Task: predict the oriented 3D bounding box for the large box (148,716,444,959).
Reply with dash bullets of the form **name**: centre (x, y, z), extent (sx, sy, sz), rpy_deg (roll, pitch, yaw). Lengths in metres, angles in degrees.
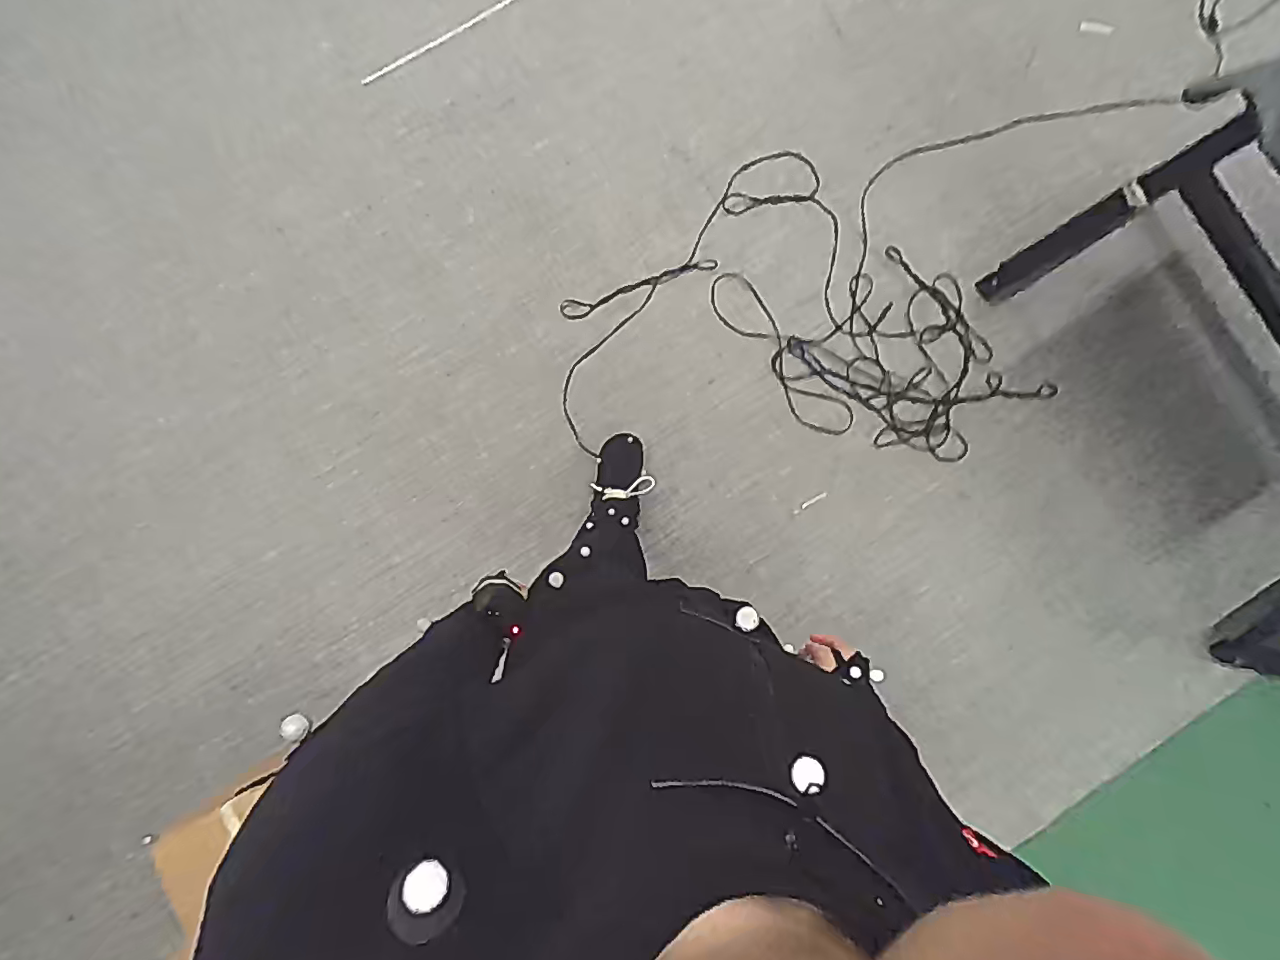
- **large box**: centre (-0.671, 0.786, 1.120), extent (0.320, 0.320, 0.408), rpy_deg (-25, 86, -5)
